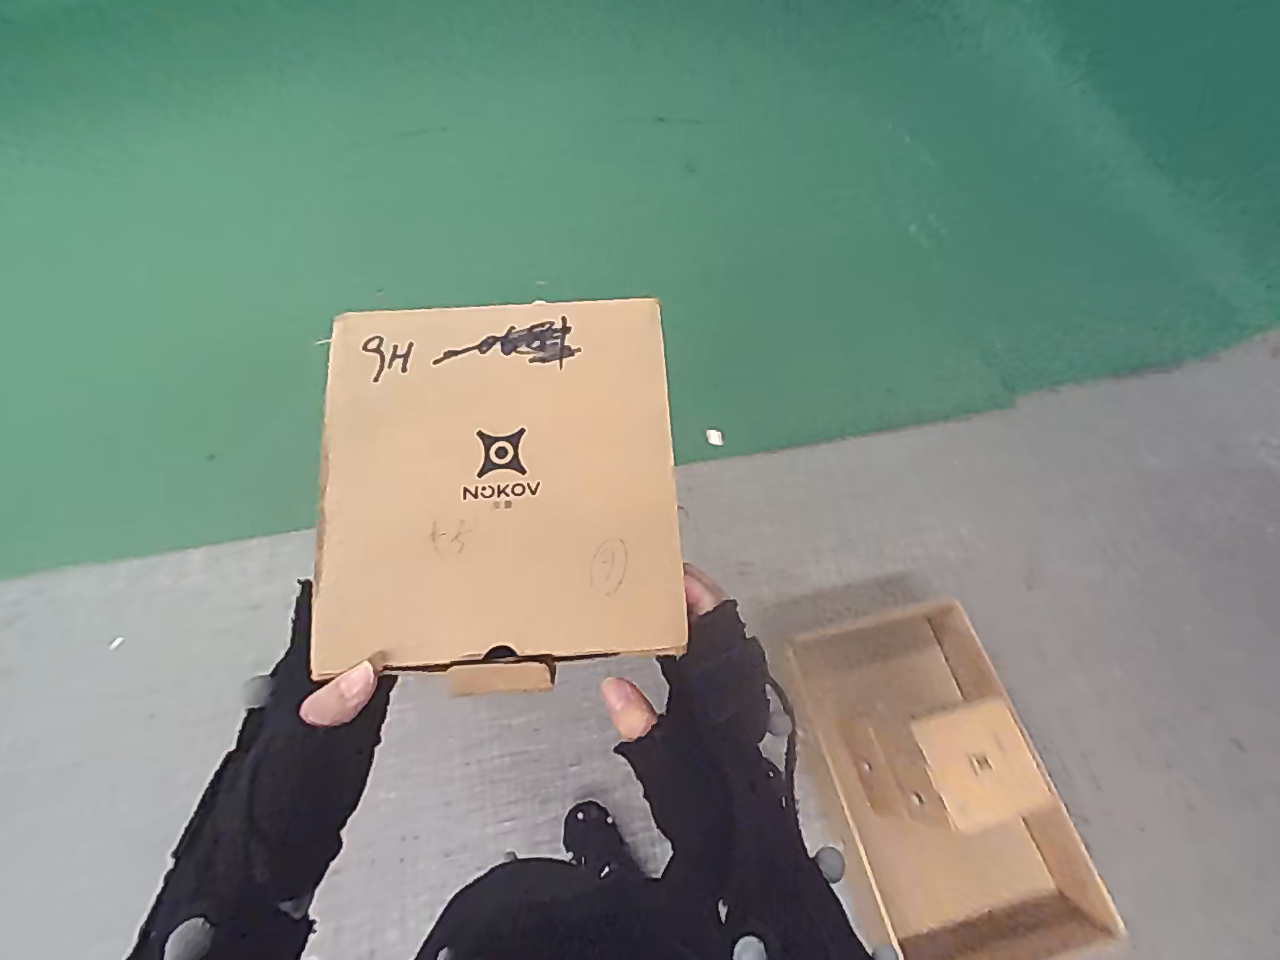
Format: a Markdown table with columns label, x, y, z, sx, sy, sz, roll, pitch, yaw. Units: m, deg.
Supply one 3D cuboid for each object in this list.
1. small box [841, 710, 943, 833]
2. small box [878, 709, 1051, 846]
| label | x | y | z | sx | sy | sz | roll | pitch | yaw |
| --- | --- | --- | --- | --- | --- | --- | --- | --- | --- |
| small box | 0.534 | 0.578 | 1.086 | 0.168 | 0.176 | 0.179 | -13 | 63 | -7 |
| small box | 0.543 | 0.509 | 0.941 | 0.179 | 0.176 | 0.168 | -12 | 66 | -7 |
